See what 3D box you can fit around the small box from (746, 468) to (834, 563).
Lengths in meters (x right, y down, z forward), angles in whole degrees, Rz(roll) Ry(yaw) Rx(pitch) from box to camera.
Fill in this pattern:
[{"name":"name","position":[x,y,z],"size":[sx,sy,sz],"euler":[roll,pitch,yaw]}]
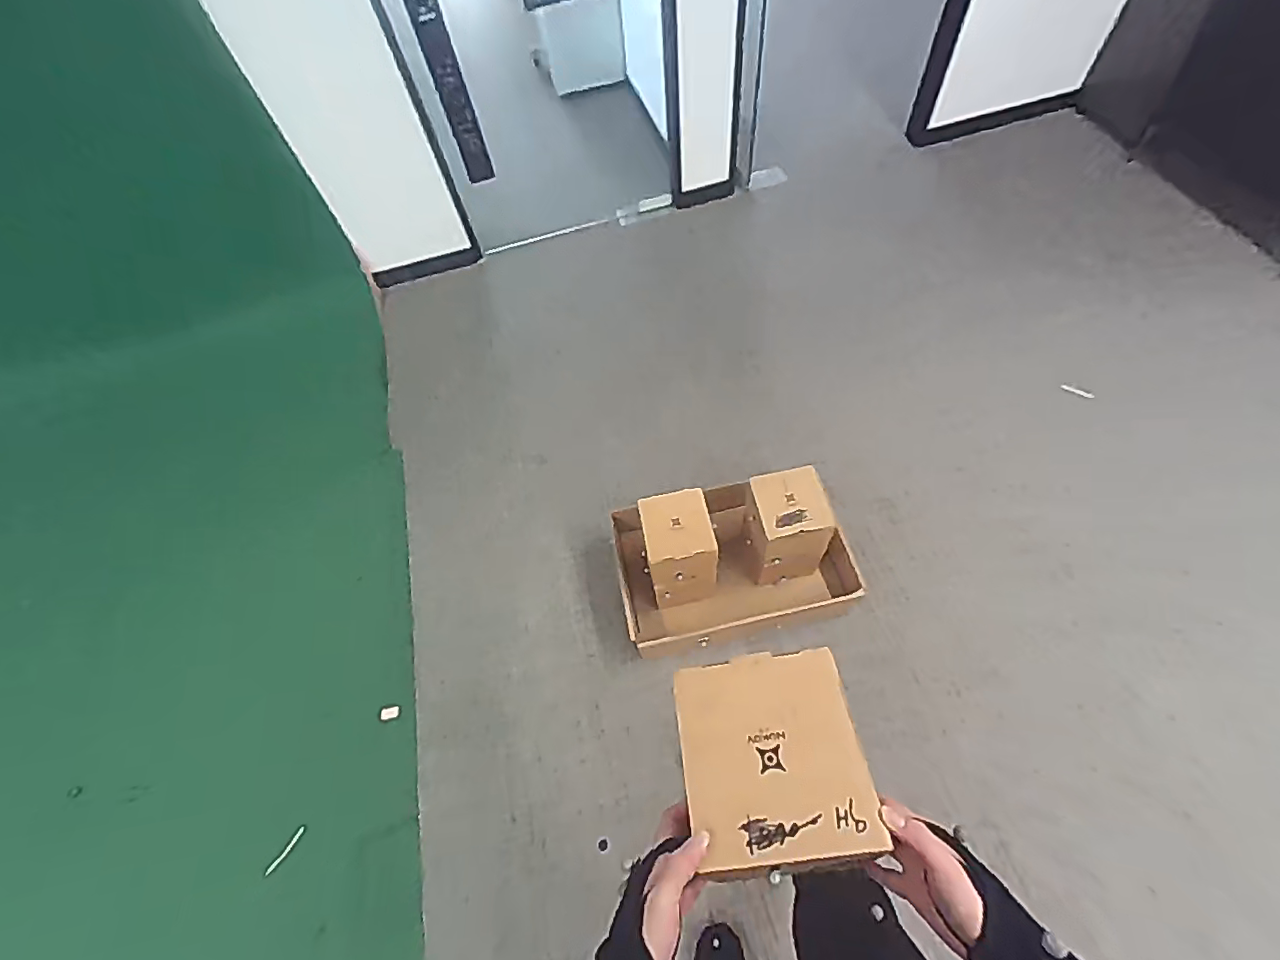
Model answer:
[{"name":"small box","position":[0.371,0.097,1.367],"size":[0.168,0.176,0.179],"euler":[-11,58,1]}]

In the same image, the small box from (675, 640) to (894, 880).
[{"name":"small box","position":[0.134,0.292,0.560],"size":[0.168,0.176,0.179],"euler":[-11,49,4]}]

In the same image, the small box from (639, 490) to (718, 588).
[{"name":"small box","position":[0.093,0.152,1.365],"size":[0.168,0.176,0.179],"euler":[-11,58,-2]}]
